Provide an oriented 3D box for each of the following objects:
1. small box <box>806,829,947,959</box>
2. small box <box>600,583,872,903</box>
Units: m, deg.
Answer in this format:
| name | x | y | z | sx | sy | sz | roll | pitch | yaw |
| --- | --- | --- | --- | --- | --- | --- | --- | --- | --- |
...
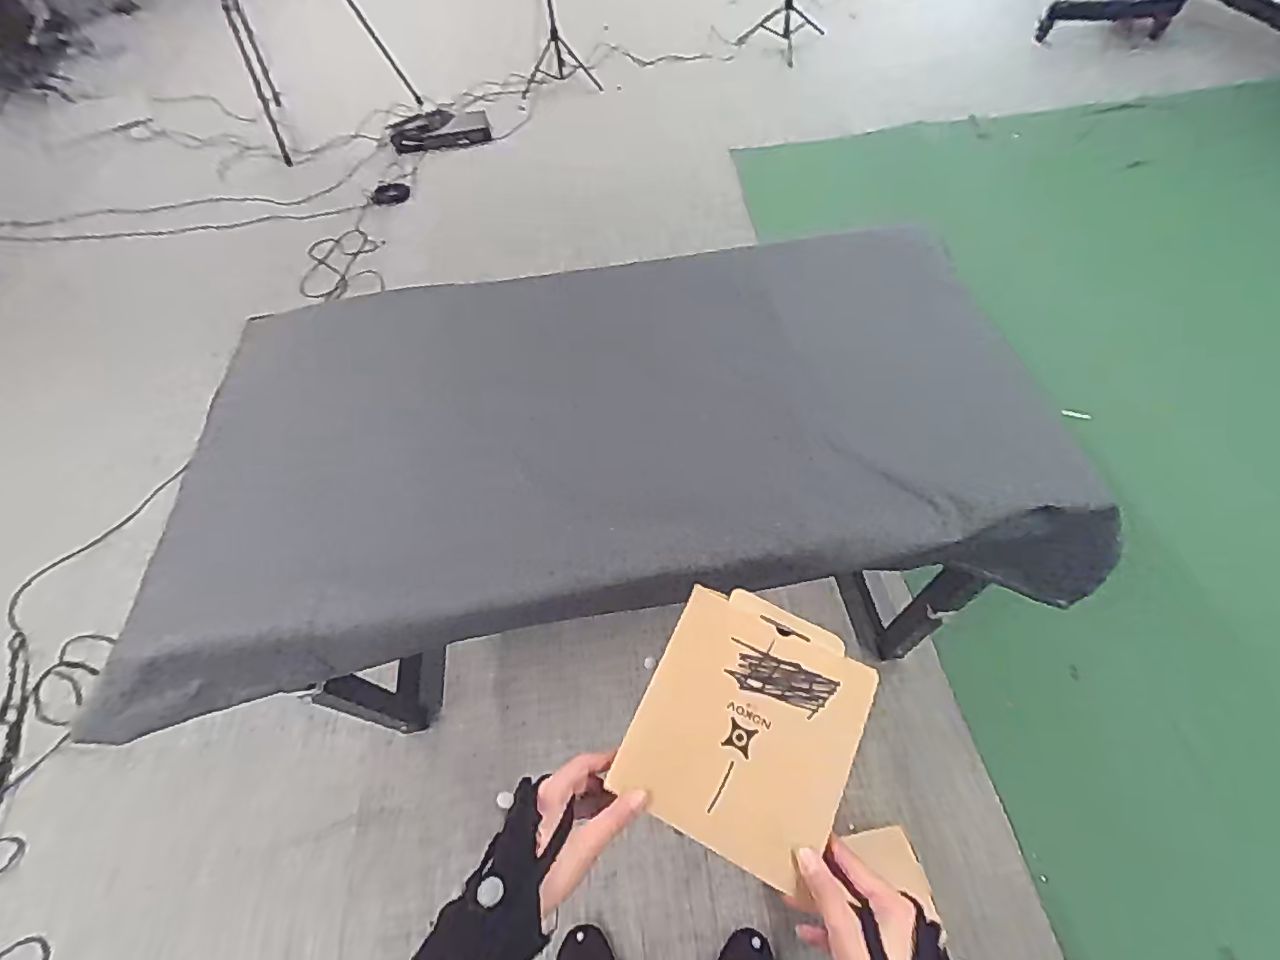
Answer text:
| name | x | y | z | sx | sy | sz | roll | pitch | yaw |
| --- | --- | --- | --- | --- | --- | --- | --- | --- | --- |
| small box | 0.402 | 0.739 | 0.973 | 0.179 | 0.176 | 0.168 | -12 | 56 | -2 |
| small box | 0.079 | 0.222 | 0.491 | 0.168 | 0.176 | 0.179 | 24 | 69 | 12 |
